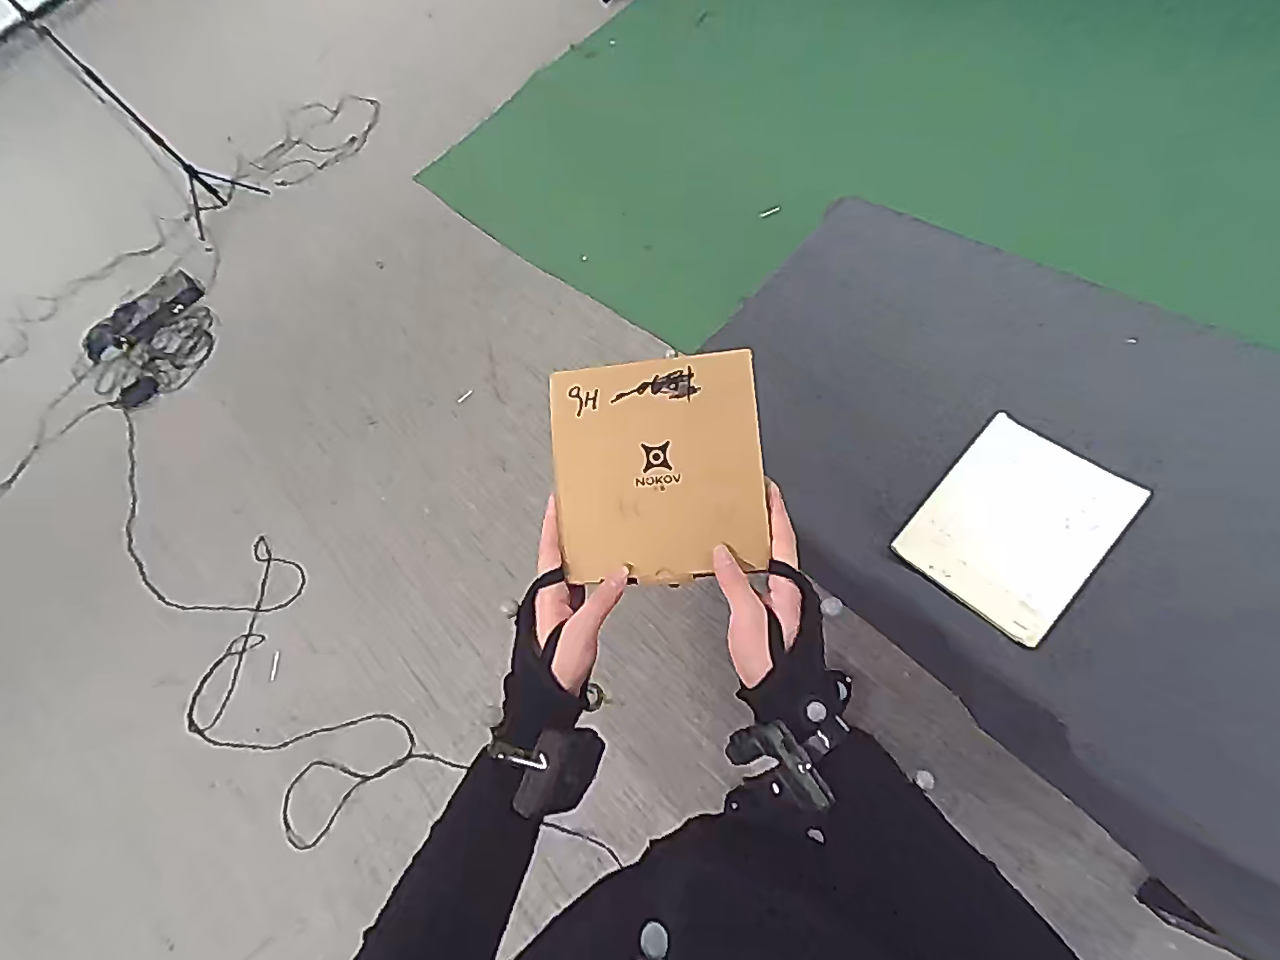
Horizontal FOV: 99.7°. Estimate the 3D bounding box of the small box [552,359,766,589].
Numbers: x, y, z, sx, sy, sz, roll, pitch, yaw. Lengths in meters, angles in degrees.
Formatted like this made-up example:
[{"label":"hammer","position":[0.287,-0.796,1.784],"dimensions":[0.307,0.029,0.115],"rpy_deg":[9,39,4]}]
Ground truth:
[{"label":"small box","position":[0.024,-0.001,0.510],"dimensions":[0.168,0.176,0.179],"rpy_deg":[-5,86,7]}]
